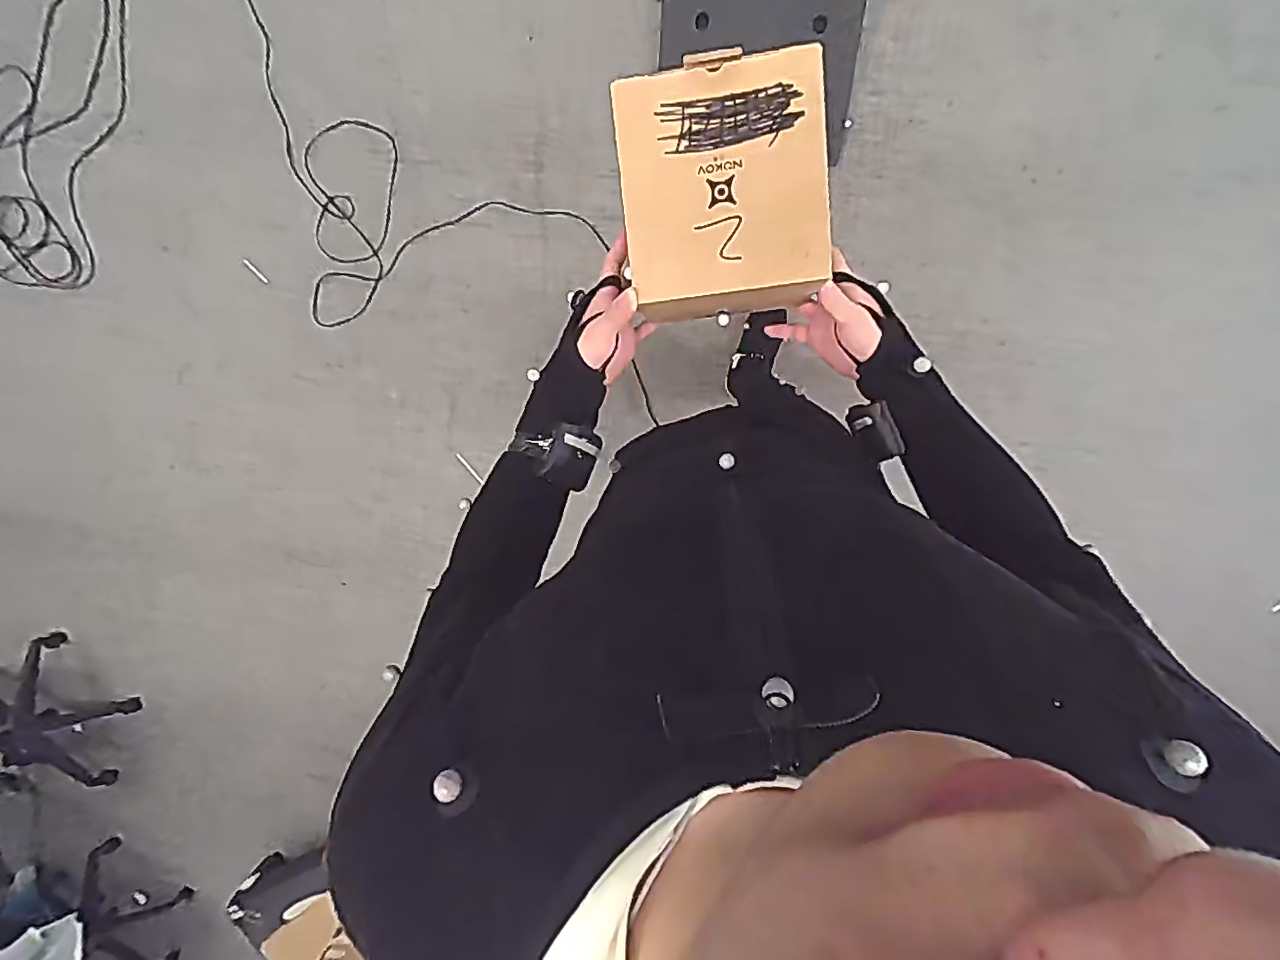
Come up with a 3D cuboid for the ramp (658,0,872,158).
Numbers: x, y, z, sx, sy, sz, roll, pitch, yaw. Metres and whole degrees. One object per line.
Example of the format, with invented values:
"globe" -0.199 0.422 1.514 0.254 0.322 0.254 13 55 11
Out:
"ramp" 0.315 -1.312 1.225 0.509 0.206 0.991 4 103 5
